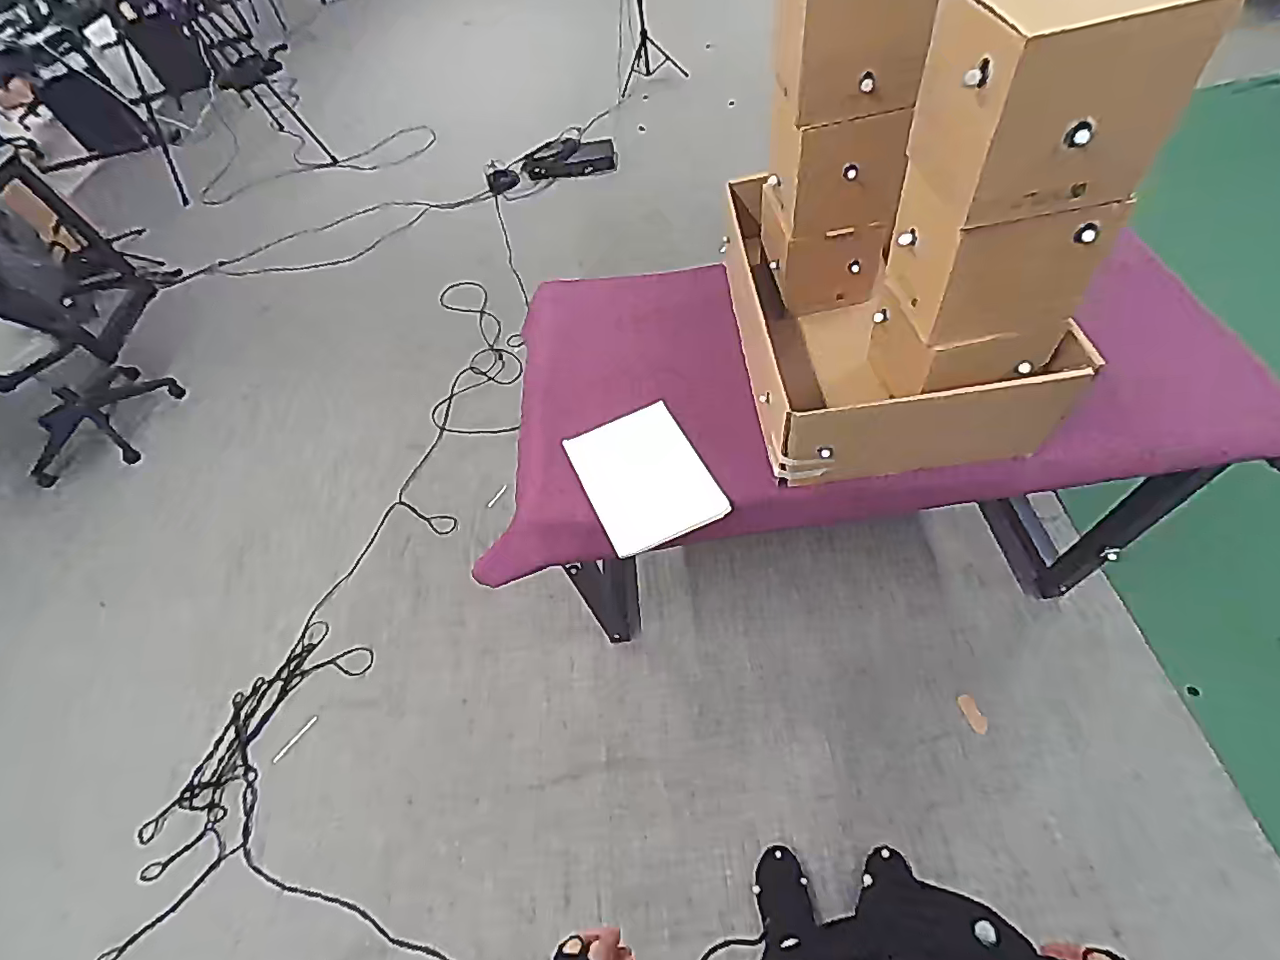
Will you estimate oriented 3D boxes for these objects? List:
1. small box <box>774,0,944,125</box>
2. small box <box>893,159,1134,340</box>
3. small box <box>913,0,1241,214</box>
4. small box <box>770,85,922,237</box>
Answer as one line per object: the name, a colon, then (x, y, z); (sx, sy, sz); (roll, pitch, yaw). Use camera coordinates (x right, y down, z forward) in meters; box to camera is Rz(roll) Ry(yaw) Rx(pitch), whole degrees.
small box: (0.285, -0.604, 0.713); (0.179, 0.176, 0.168); (-7, 56, 4)
small box: (0.433, -0.294, 0.672); (0.179, 0.176, 0.168); (-8, 54, 6)
small box: (0.400, -0.387, 0.540); (0.168, 0.176, 0.179); (-8, 54, 6)
small box: (0.311, -0.513, 0.847); (0.179, 0.176, 0.168); (-10, 56, 4)
